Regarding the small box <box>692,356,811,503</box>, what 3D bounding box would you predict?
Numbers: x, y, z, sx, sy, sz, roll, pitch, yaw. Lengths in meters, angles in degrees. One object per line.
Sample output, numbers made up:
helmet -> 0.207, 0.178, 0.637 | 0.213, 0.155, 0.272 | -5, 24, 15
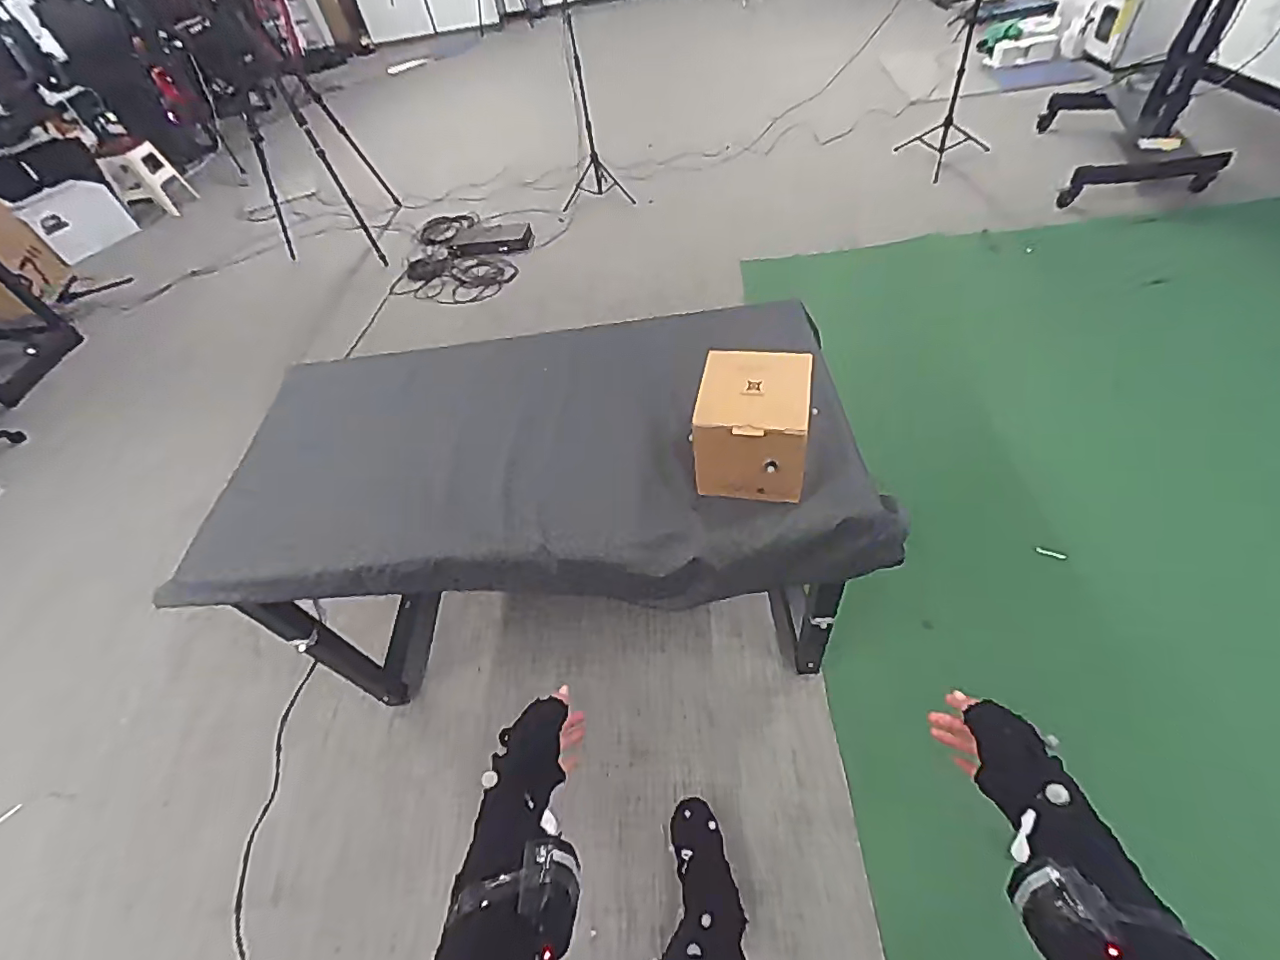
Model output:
small box -> 0.183, -0.081, 0.881 | 0.168, 0.176, 0.179 | 5, 50, 14
